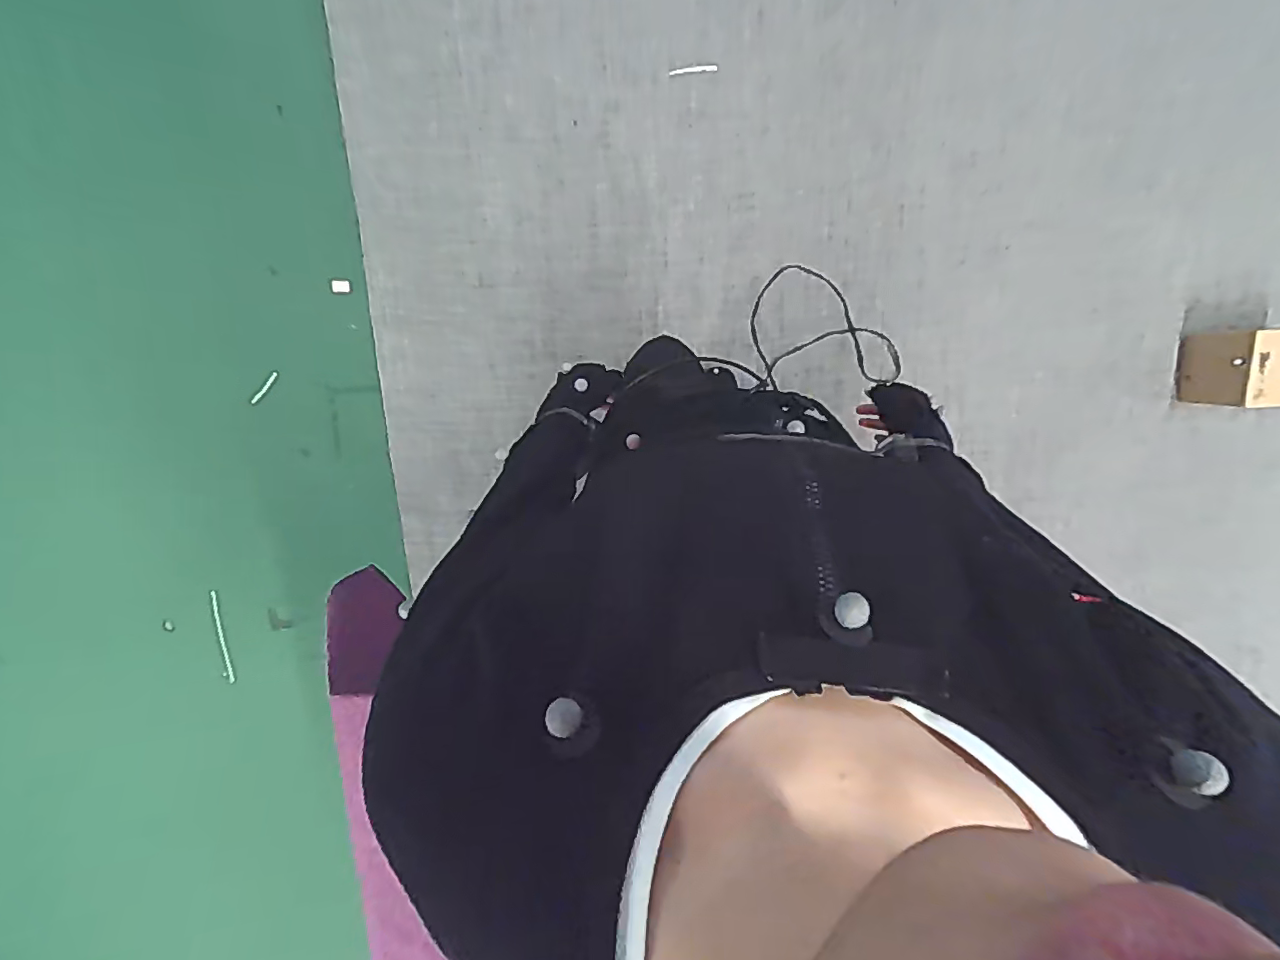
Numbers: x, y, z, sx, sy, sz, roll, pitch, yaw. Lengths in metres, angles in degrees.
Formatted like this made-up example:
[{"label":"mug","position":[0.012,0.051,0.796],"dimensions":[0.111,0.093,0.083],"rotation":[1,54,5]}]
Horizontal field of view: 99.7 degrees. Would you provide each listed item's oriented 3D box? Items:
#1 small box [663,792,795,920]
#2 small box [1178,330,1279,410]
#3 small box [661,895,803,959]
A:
[{"label":"small box","position":[0.117,0.580,0.770],"dimensions":[0.168,0.176,0.179],"rotation":[1,103,5]},{"label":"small box","position":[1.396,-0.252,1.223],"dimensions":[0.179,0.176,0.168],"rotation":[-2,102,5]},{"label":"small box","position":[0.104,0.622,0.612],"dimensions":[0.168,0.176,0.179],"rotation":[1,102,5]}]
